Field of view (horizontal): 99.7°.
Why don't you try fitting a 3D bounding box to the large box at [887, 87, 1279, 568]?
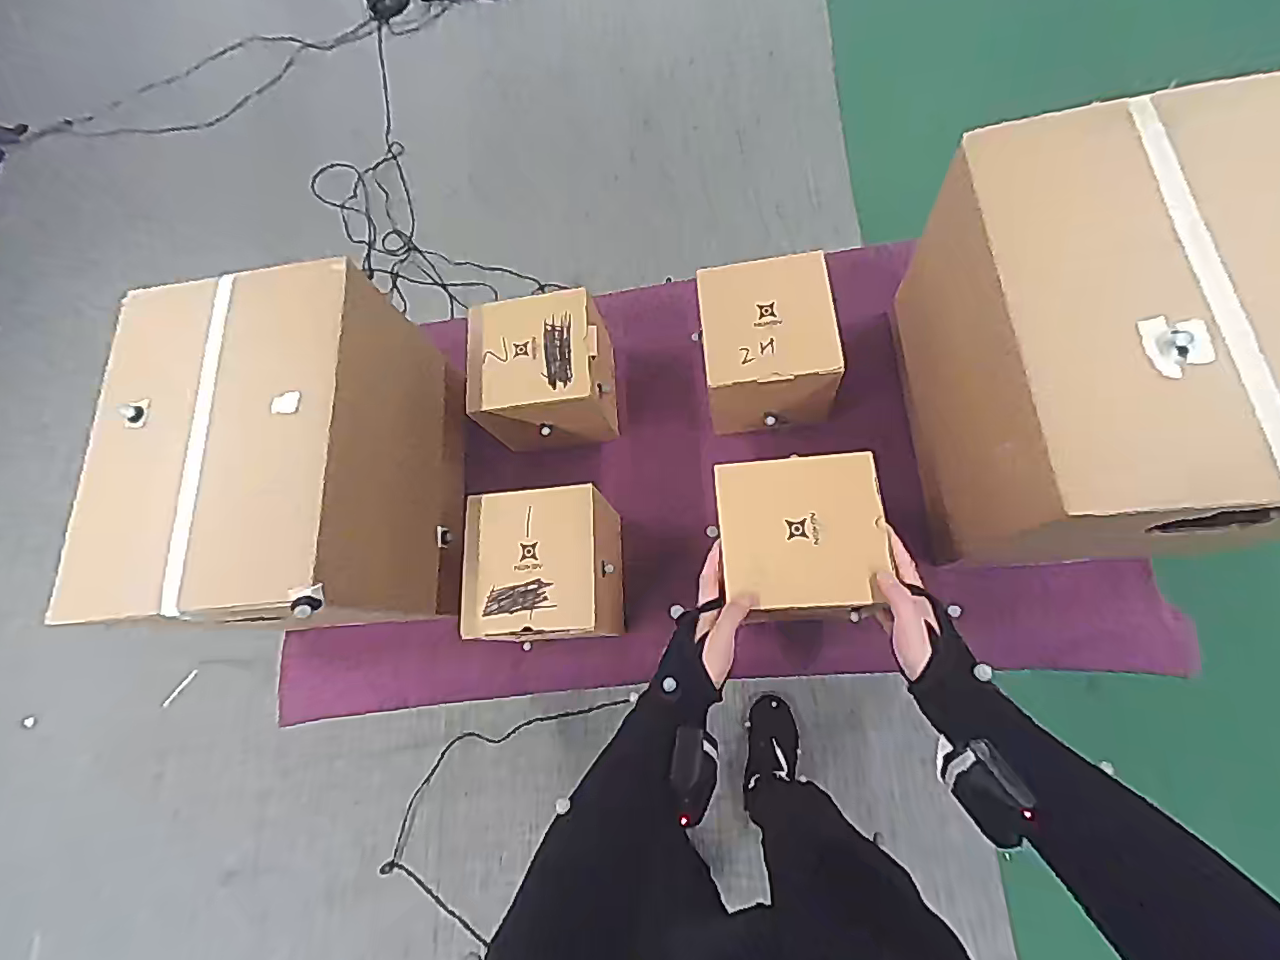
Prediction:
[{"bbox_3d":[0.509,-0.127,0.607,0.320,0.320,0.408,-5,73,10],"label":"large box"}]
